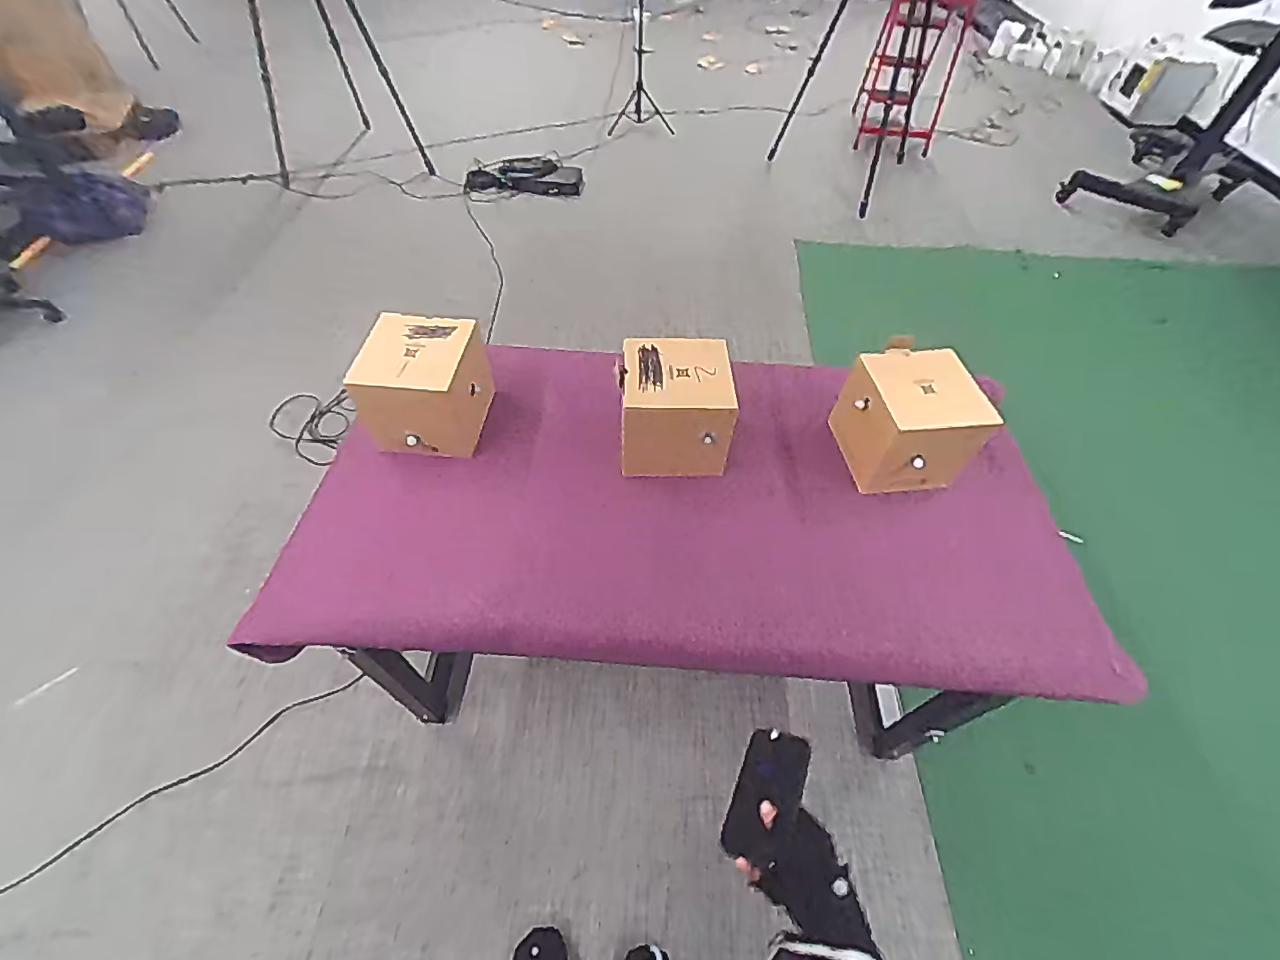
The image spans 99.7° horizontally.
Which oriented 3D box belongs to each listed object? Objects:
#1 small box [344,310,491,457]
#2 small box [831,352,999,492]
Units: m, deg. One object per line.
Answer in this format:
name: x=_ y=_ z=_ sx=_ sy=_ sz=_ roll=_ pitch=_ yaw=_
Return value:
small box: x=-0.364 y=-0.163 z=0.929 sx=0.168 sy=0.176 sz=0.179 roll=5 pitch=54 yaw=2
small box: x=0.447 y=-0.091 z=0.911 sx=0.168 sy=0.176 sz=0.179 roll=-4 pitch=52 yaw=-5
